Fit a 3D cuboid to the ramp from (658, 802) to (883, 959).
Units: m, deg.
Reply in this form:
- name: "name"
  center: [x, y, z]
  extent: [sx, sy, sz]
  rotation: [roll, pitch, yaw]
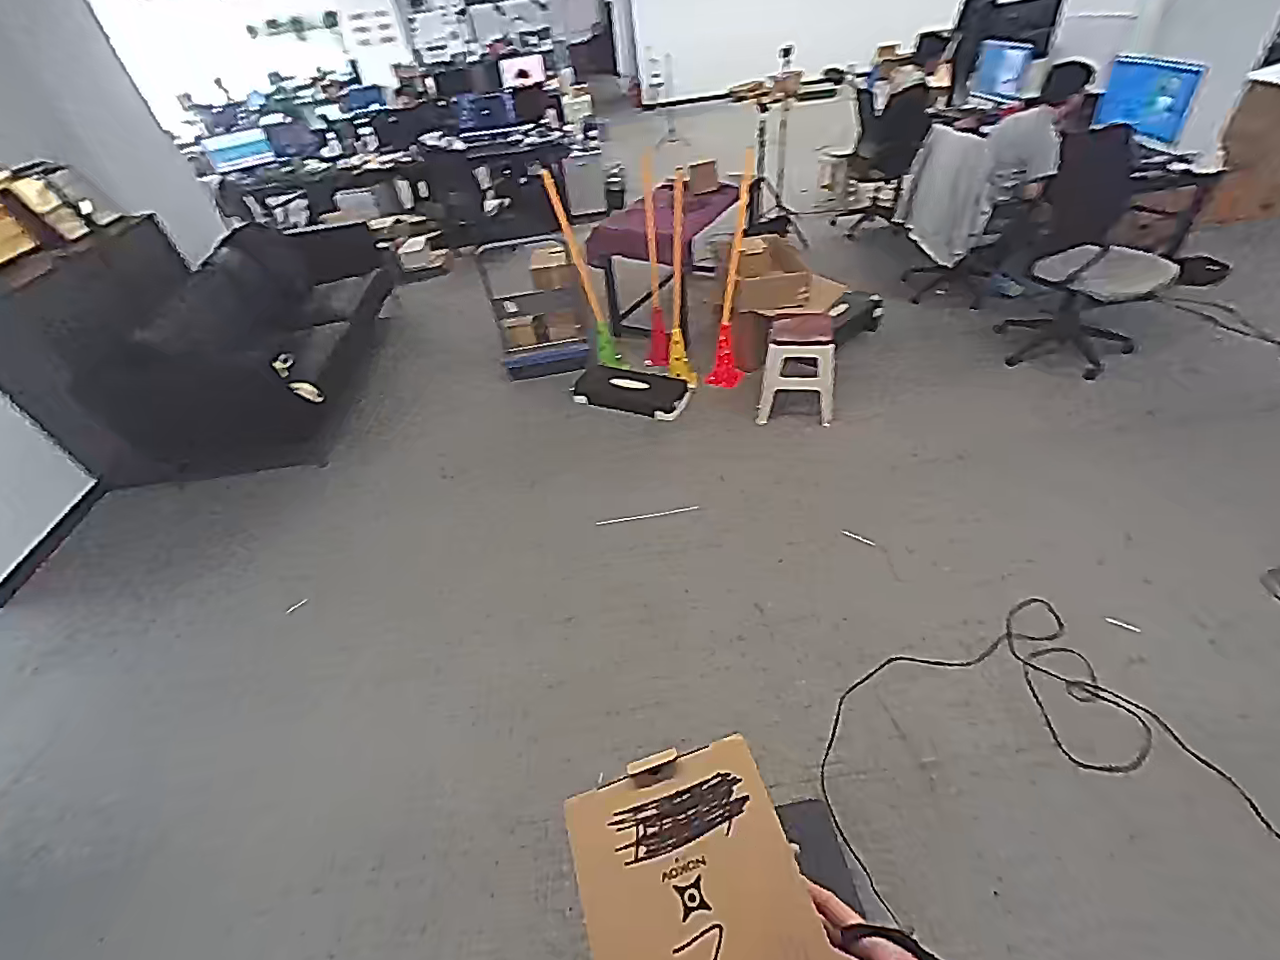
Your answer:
- name: "ramp"
  center: [0.334, 1.222, 1.129]
  extent: [0.509, 0.206, 0.991]
  rotation: [-11, 41, -1]
